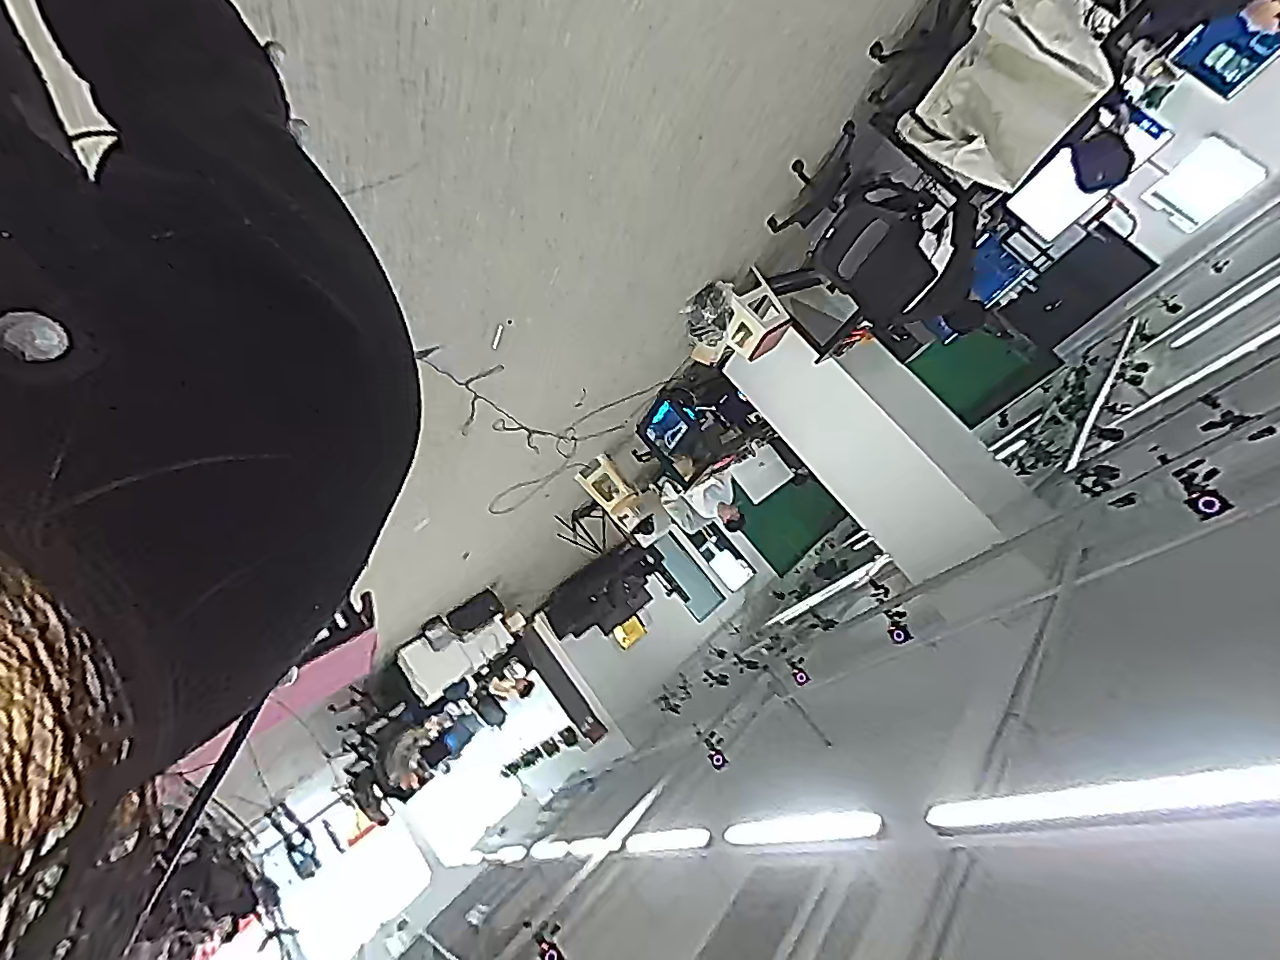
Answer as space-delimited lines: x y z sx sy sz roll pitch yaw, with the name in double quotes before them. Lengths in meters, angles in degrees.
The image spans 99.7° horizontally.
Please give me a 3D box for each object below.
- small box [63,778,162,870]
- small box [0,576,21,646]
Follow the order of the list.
"small box" -1.682 1.095 1.723 0.179 0.176 0.168 -29 165 -42
"small box" -2.061 0.423 1.660 0.168 0.176 0.179 -47 167 31
